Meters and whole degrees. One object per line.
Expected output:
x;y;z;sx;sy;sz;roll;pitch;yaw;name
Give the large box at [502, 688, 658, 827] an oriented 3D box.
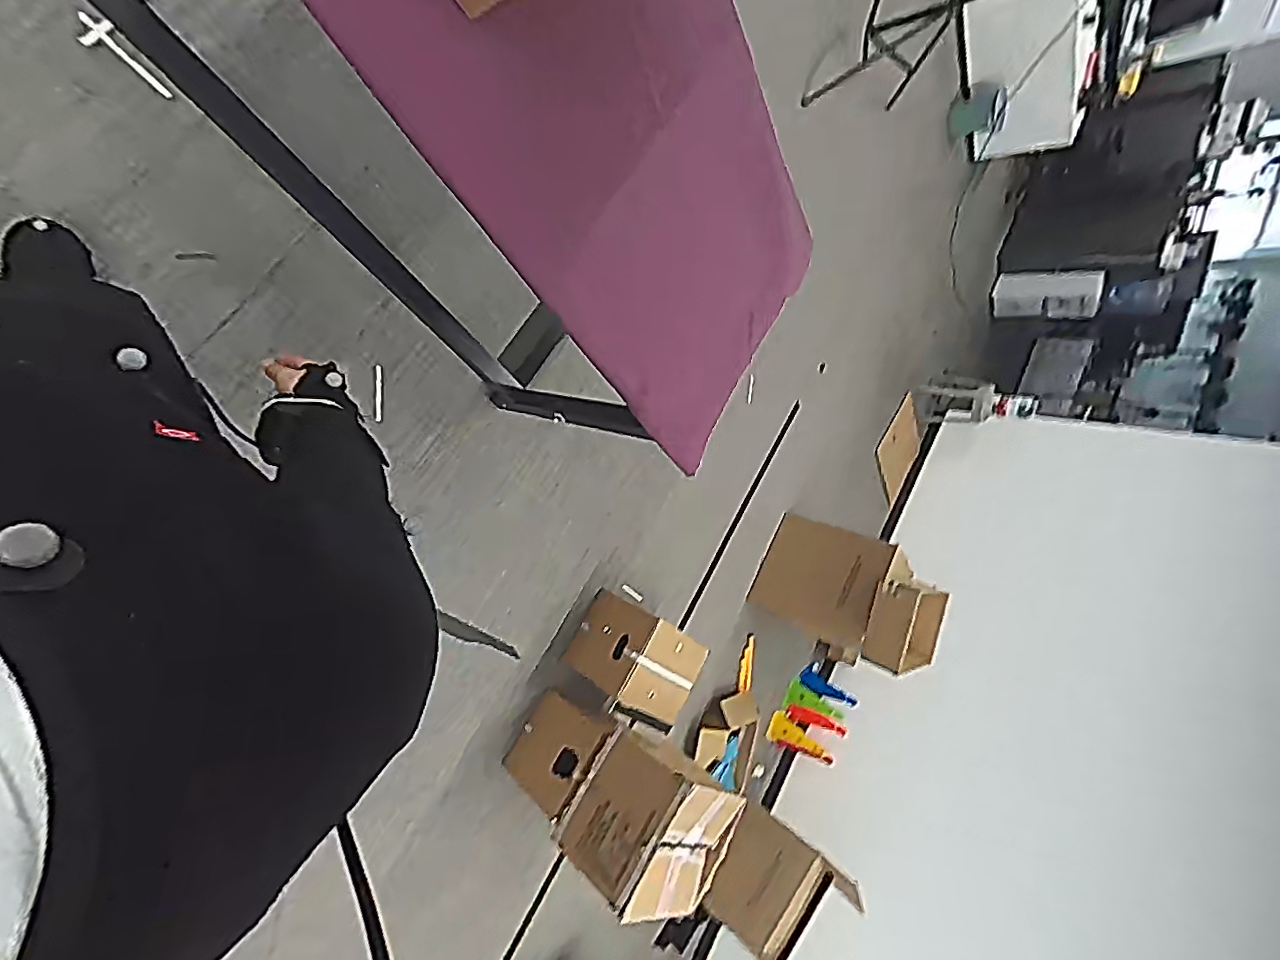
-0.211;1.013;1.976;0.408;0.320;0.320;45;69;-44;large box
